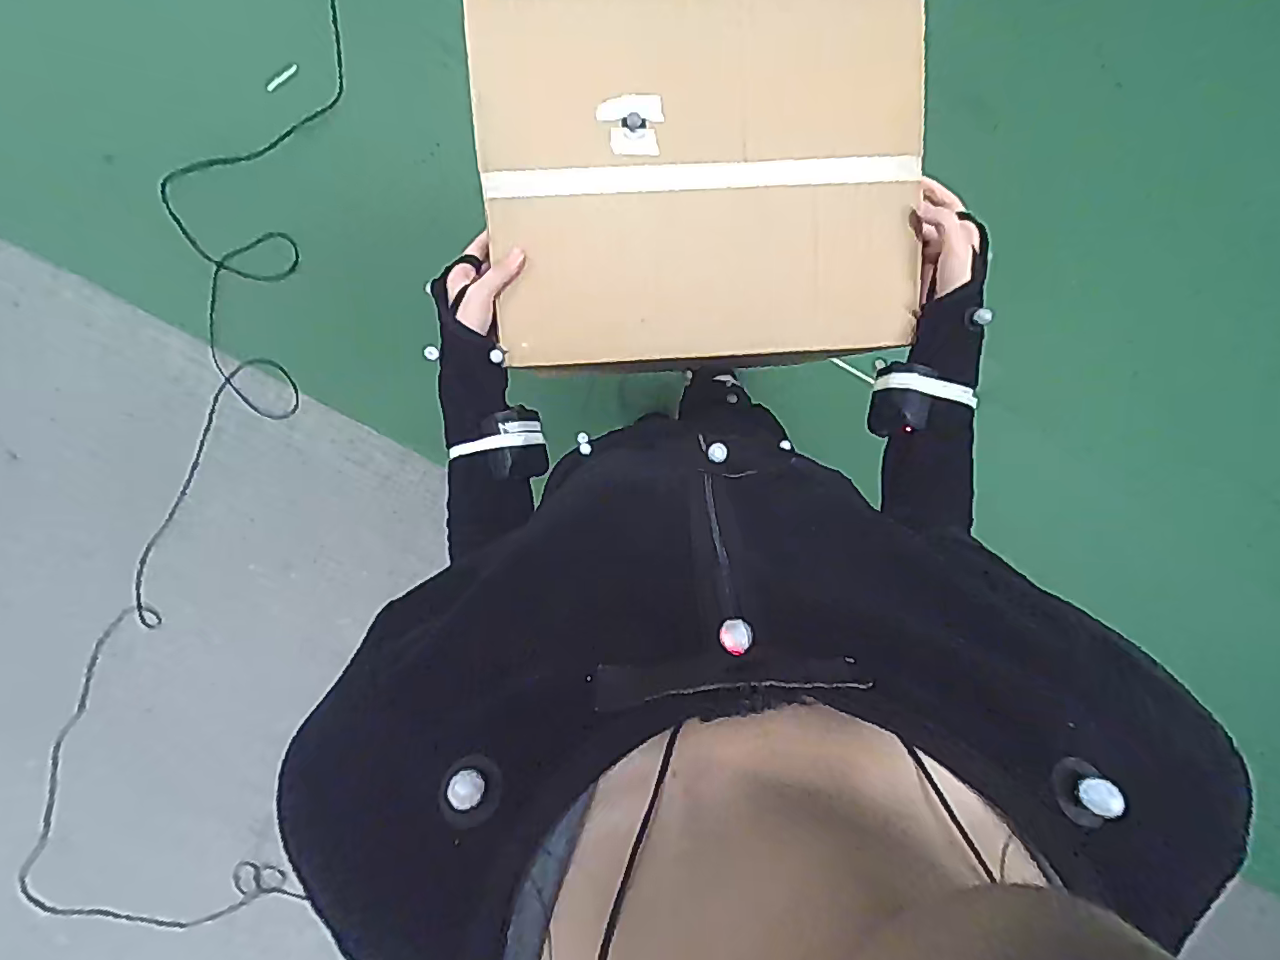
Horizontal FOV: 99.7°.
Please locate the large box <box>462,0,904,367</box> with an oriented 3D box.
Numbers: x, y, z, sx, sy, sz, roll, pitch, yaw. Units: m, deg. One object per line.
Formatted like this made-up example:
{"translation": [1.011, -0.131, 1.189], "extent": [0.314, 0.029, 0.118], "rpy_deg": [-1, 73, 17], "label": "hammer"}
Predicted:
{"translation": [0.045, -0.309, 0.651], "extent": [0.408, 0.320, 0.320], "rpy_deg": [-5, 100, -3], "label": "large box"}
